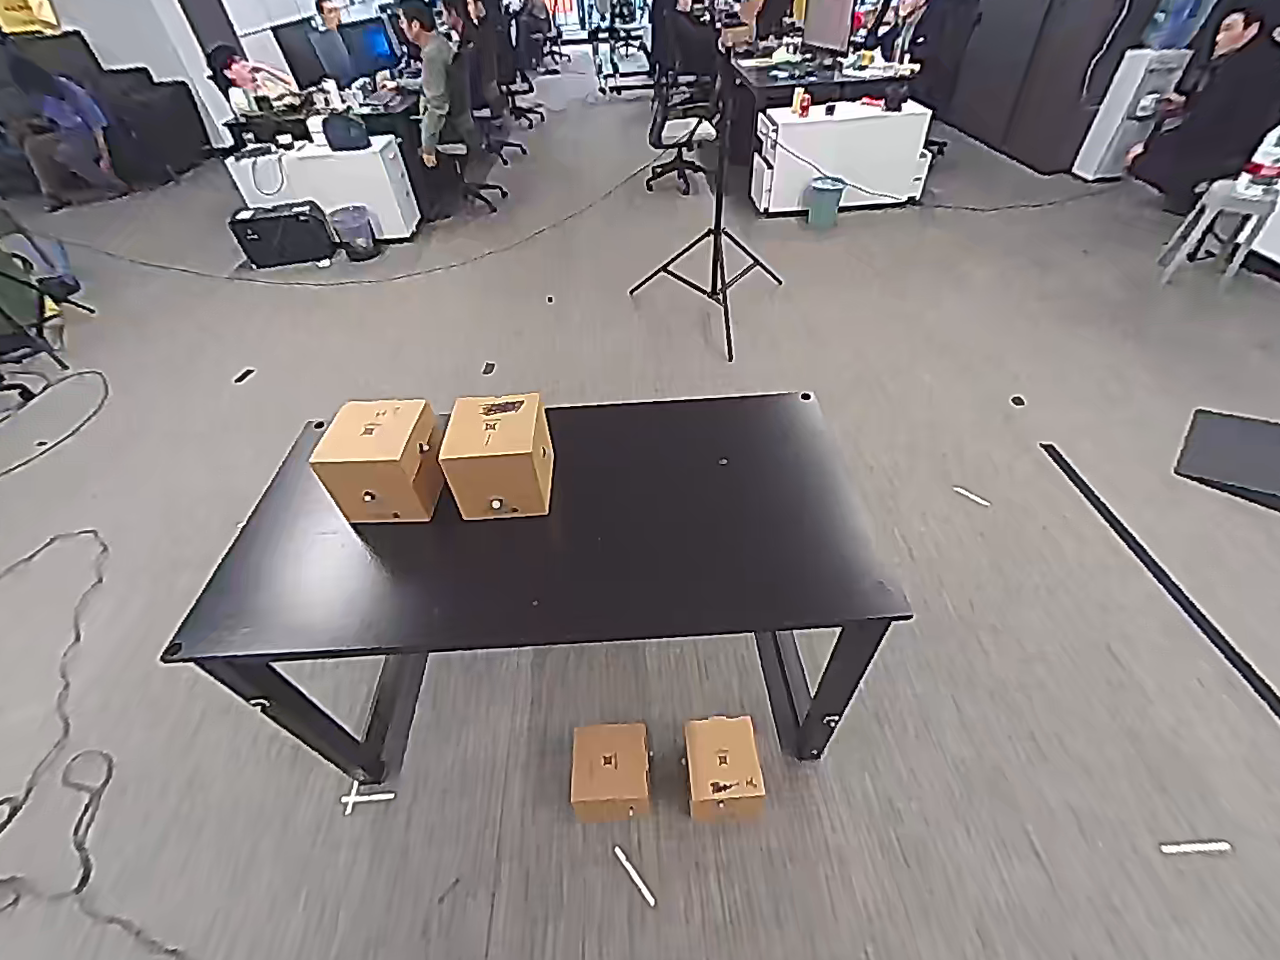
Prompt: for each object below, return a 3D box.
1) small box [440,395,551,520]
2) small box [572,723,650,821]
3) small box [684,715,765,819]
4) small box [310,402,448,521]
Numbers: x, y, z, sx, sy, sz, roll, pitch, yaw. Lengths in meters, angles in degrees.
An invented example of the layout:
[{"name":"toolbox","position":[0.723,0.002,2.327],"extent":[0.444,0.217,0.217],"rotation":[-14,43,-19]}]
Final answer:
[{"name":"small box","position":[-0.268,-0.043,1.050],"extent":[0.168,0.176,0.179],"rotation":[-4,46,-1]},{"name":"small box","position":[-0.065,0.712,1.316],"extent":[0.179,0.176,0.168],"rotation":[-5,44,1]},{"name":"small box","position":[0.197,0.695,1.309],"extent":[0.168,0.176,0.179],"rotation":[-5,45,0]},{"name":"small box","position":[-0.492,-0.032,1.056],"extent":[0.168,0.176,0.179],"rotation":[-1,45,2]}]
